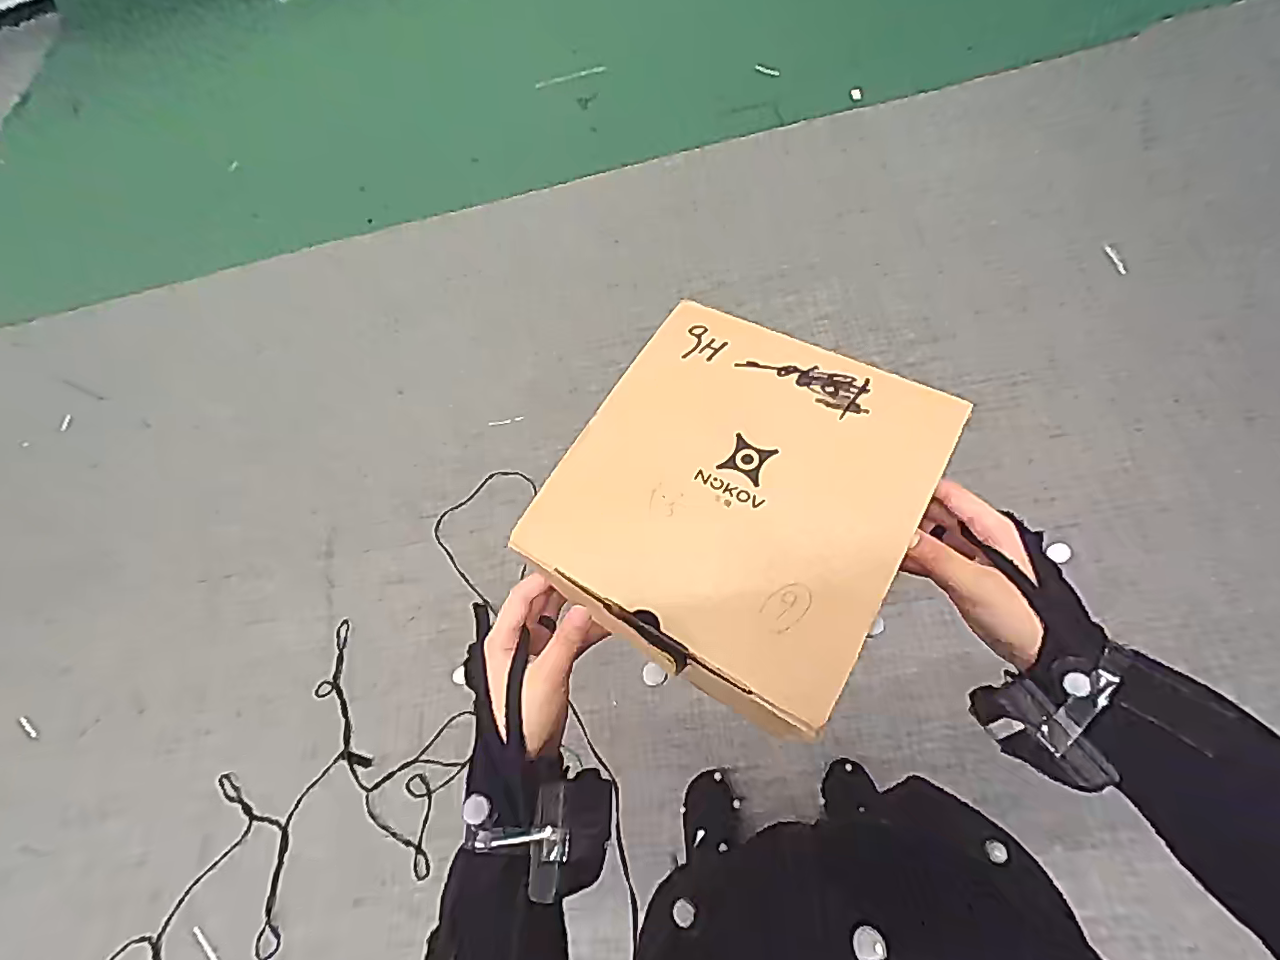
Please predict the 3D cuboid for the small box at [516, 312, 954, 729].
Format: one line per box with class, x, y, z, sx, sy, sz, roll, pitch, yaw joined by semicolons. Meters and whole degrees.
small box;0.060;0.035;0.345;0.168;0.176;0.179;27;72;20
